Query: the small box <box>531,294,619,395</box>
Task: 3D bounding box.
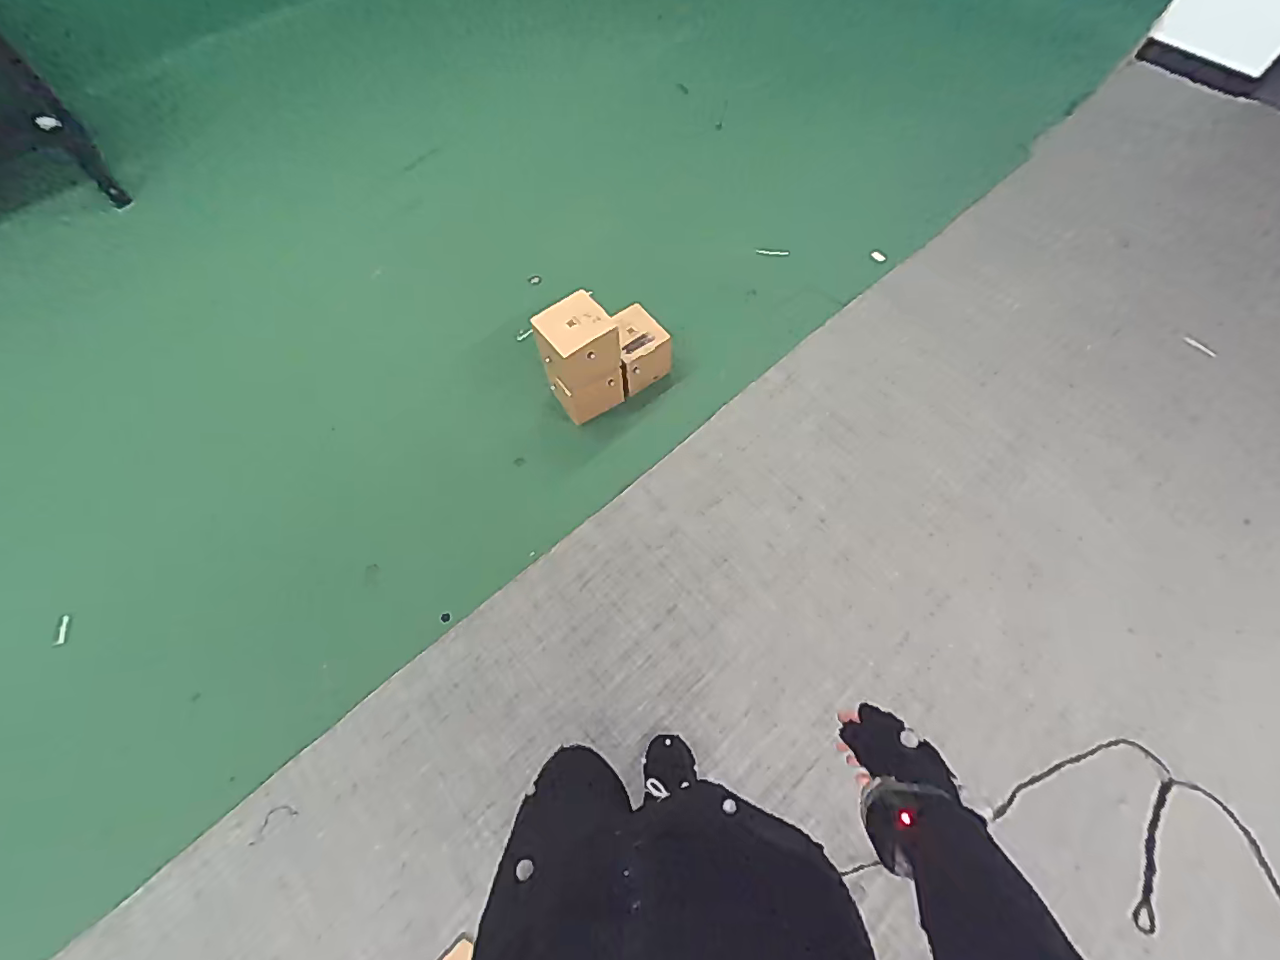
[{"bbox_3d":[-0.171,-0.365,1.487,0.179,0.176,0.168,-35,68,-15],"label":"small box"}]
